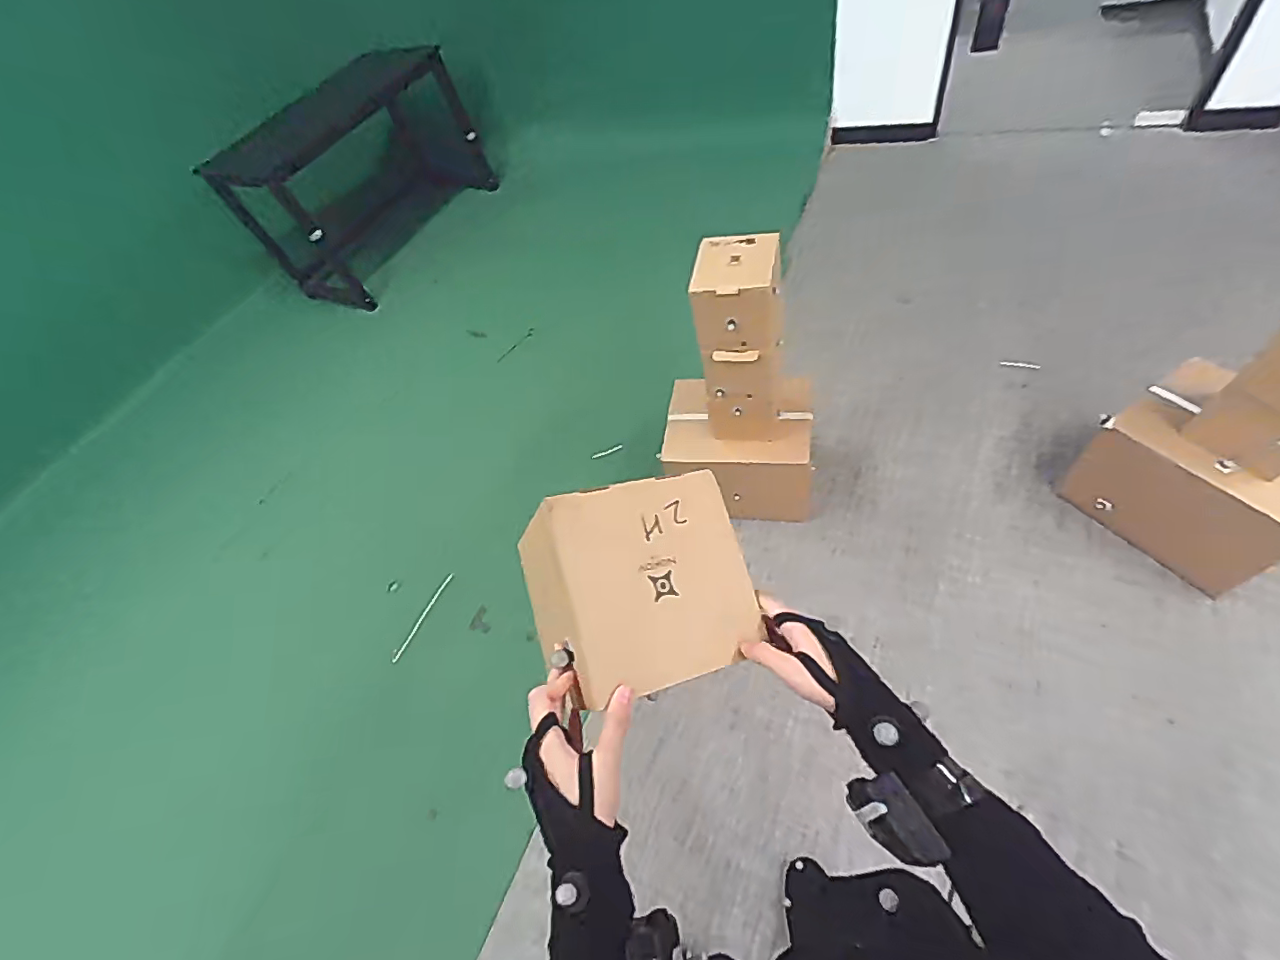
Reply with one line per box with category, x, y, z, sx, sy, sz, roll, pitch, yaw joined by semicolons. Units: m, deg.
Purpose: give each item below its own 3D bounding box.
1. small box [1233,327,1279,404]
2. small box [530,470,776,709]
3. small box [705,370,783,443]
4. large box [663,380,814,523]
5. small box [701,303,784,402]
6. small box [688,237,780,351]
small box;1.245;-0.226;0.961;0.168;0.176;0.179;-35;55;-9
small box;-0.002;0.109;0.529;0.168;0.176;0.179;-9;72;-23
small box;0.283;-0.212;1.442;0.179;0.176;0.168;4;59;19
large box;0.315;-0.075;1.645;0.408;0.320;0.320;0;55;18
small box;0.255;-0.305;1.310;0.168;0.176;0.179;6;59;20
small box;0.213;-0.399;1.182;0.168;0.176;0.179;5;60;19
